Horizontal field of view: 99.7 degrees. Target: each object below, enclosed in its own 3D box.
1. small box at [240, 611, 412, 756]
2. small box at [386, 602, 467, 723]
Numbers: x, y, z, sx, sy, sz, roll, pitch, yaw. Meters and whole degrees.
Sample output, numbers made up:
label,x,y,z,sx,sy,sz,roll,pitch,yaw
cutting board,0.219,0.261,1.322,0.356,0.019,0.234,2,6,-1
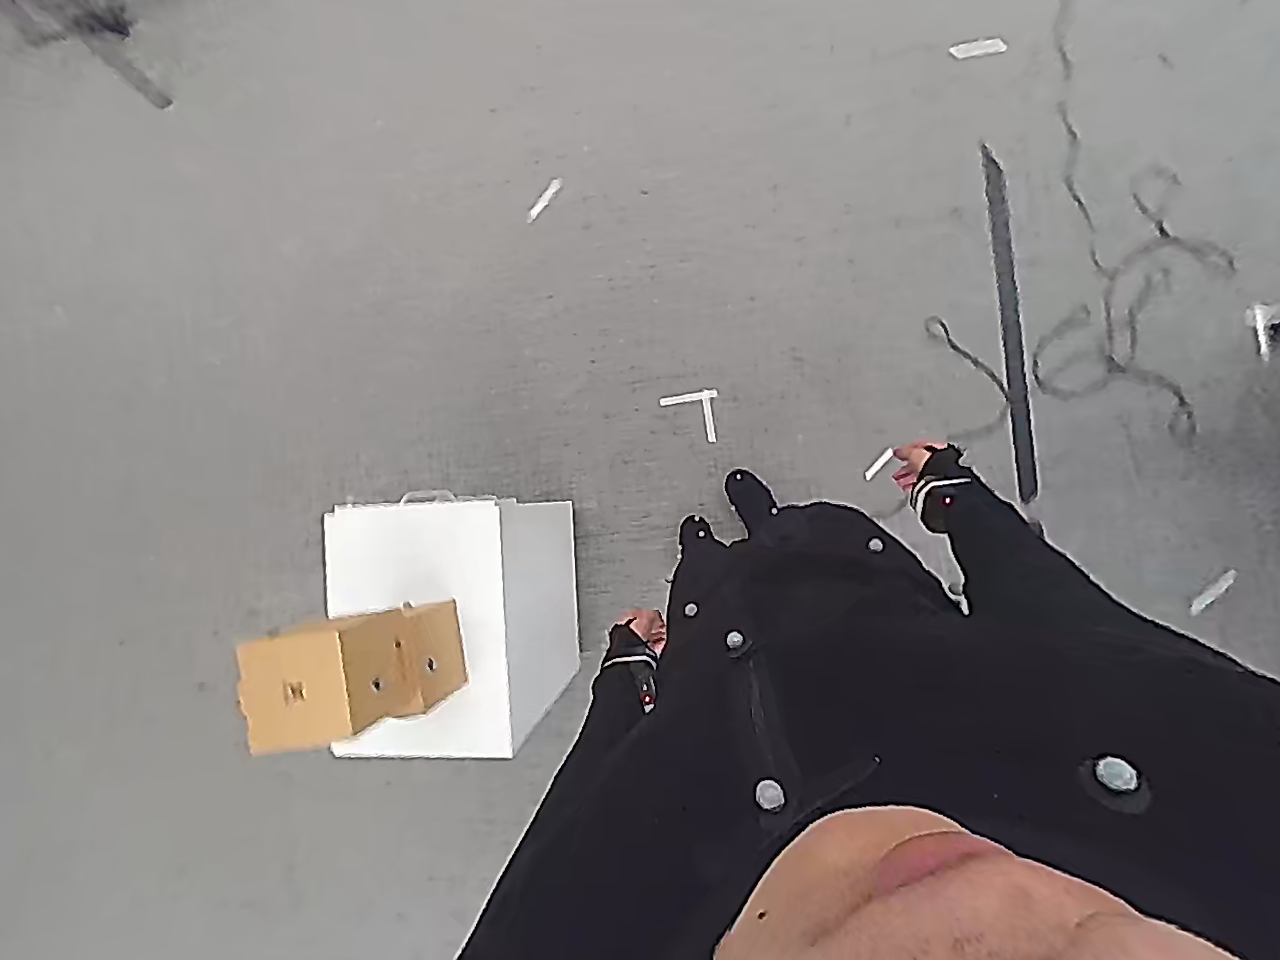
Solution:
label,x,y,z,sx,sy,sz,roll,pitch,yaw
small box,-0.493,0.319,0.877,0.179,0.176,0.168,-11,87,9
small box,-0.450,0.346,1.034,0.168,0.176,0.179,-11,86,8
